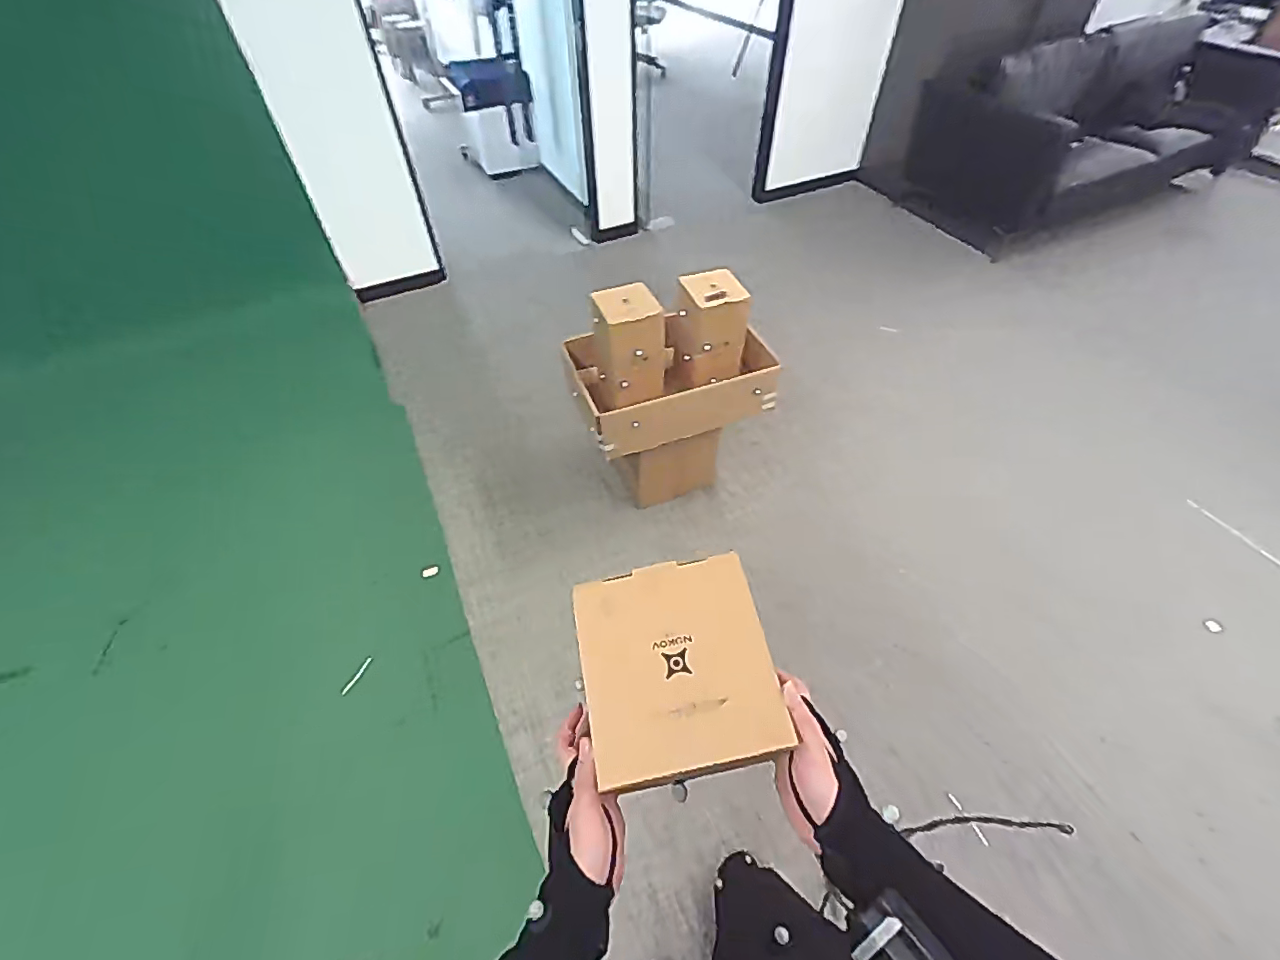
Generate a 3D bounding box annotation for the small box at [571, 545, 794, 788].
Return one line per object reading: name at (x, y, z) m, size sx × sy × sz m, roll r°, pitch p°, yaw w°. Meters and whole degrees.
small box at (0.032, 0.188, 0.533) m, size 0.168 × 0.176 × 0.179 m, roll -11°, pitch 58°, yaw -2°

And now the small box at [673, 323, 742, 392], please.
small box at (0.213, -0.417, 1.776) m, size 0.168 × 0.176 × 0.179 m, roll -16°, pitch 53°, yaw -12°

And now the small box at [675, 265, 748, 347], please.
small box at (0.212, -0.523, 1.650) m, size 0.168 × 0.176 × 0.179 m, roll -15°, pitch 51°, yaw -12°

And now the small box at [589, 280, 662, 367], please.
small box at (-0.043, -0.462, 1.600) m, size 0.168 × 0.176 × 0.179 m, roll -18°, pitch 52°, yaw -13°
